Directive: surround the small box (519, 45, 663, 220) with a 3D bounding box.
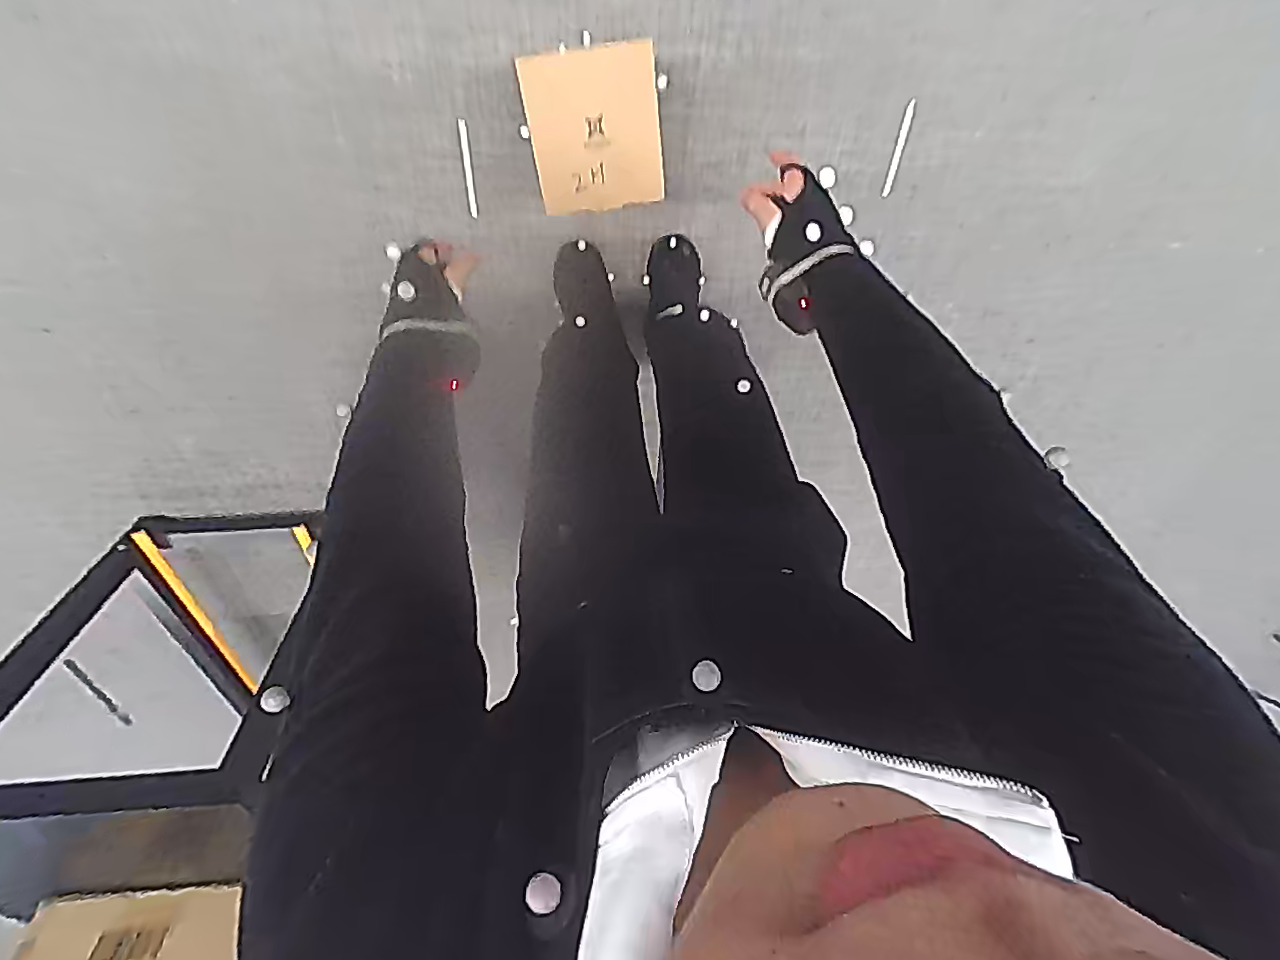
[{"bbox_3d":[-0.063,-0.482,0.753,0.168,0.176,0.179,-7,128,1],"label":"small box"}]
